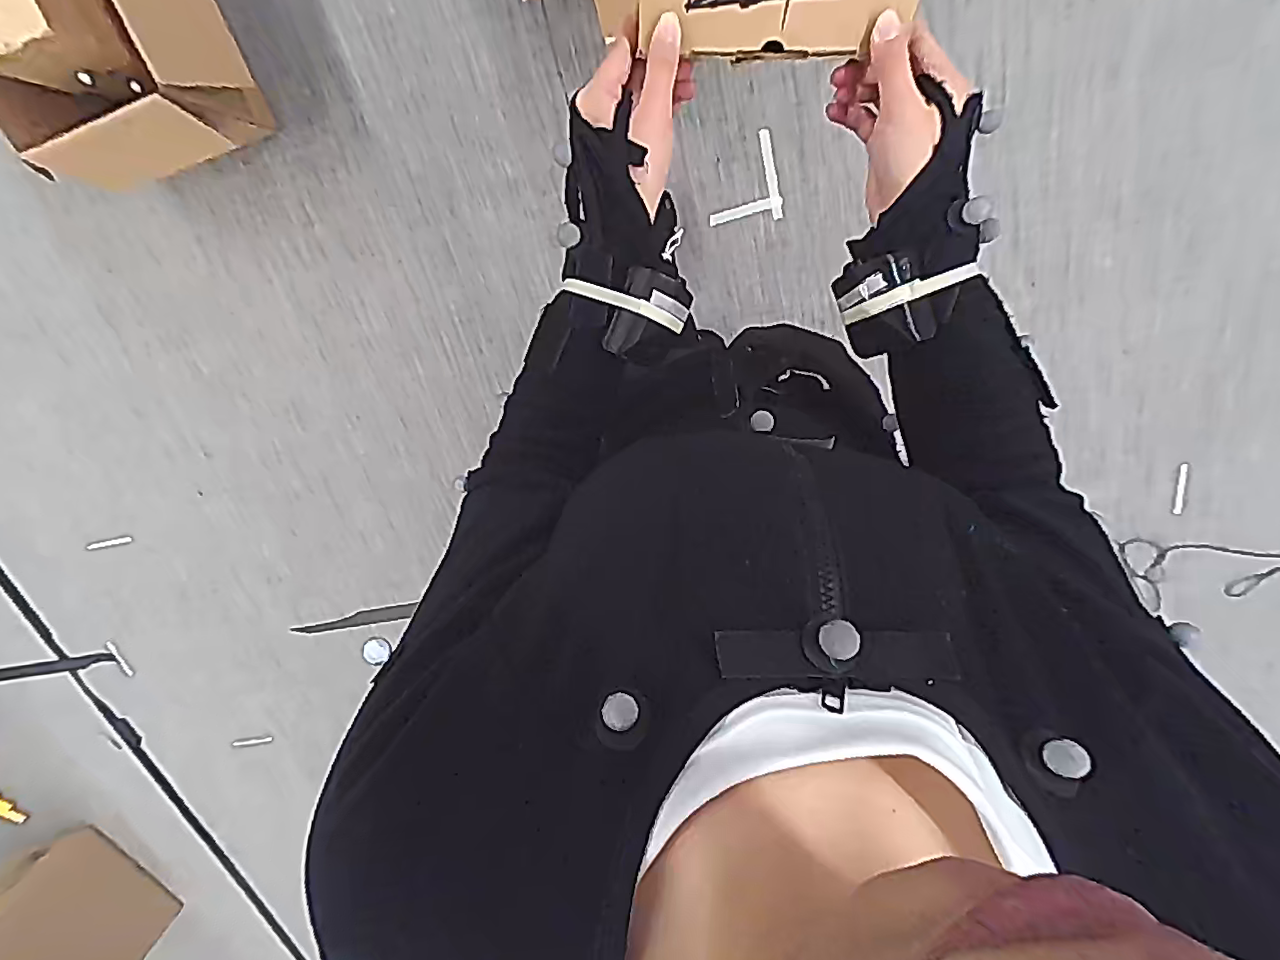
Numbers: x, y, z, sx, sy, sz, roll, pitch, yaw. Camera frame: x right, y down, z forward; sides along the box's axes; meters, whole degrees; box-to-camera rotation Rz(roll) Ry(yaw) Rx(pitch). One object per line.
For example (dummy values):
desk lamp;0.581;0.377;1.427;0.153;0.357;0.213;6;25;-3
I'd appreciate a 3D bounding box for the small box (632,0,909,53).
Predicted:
small box;0.082;-0.385;0.343;0.168;0.176;0.179;1;127;1

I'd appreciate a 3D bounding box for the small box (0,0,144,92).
small box;-0.998;-0.782;0.889;0.168;0.176;0.179;-13;111;9
